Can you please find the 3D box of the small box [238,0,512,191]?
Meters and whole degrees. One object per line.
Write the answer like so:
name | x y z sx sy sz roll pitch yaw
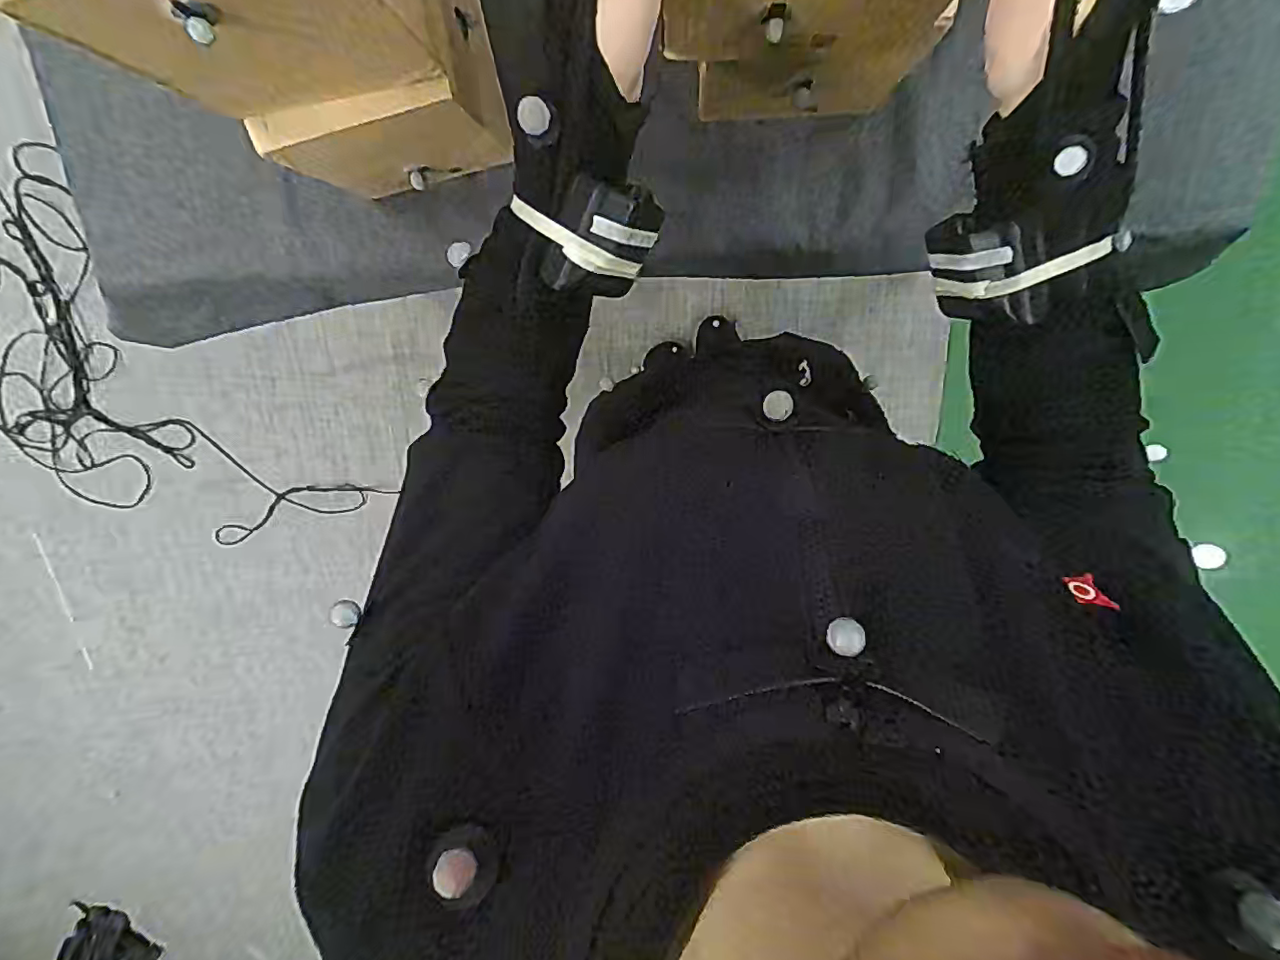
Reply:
small box | -0.226 -0.371 0.455 0.168 0.176 0.179 -11 107 7

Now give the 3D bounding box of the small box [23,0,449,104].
small box | -0.233 -0.336 0.295 0.179 0.176 0.168 -6 107 5

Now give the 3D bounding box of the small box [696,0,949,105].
small box | 0.130 -0.414 0.417 0.168 0.176 0.179 -1 108 4
